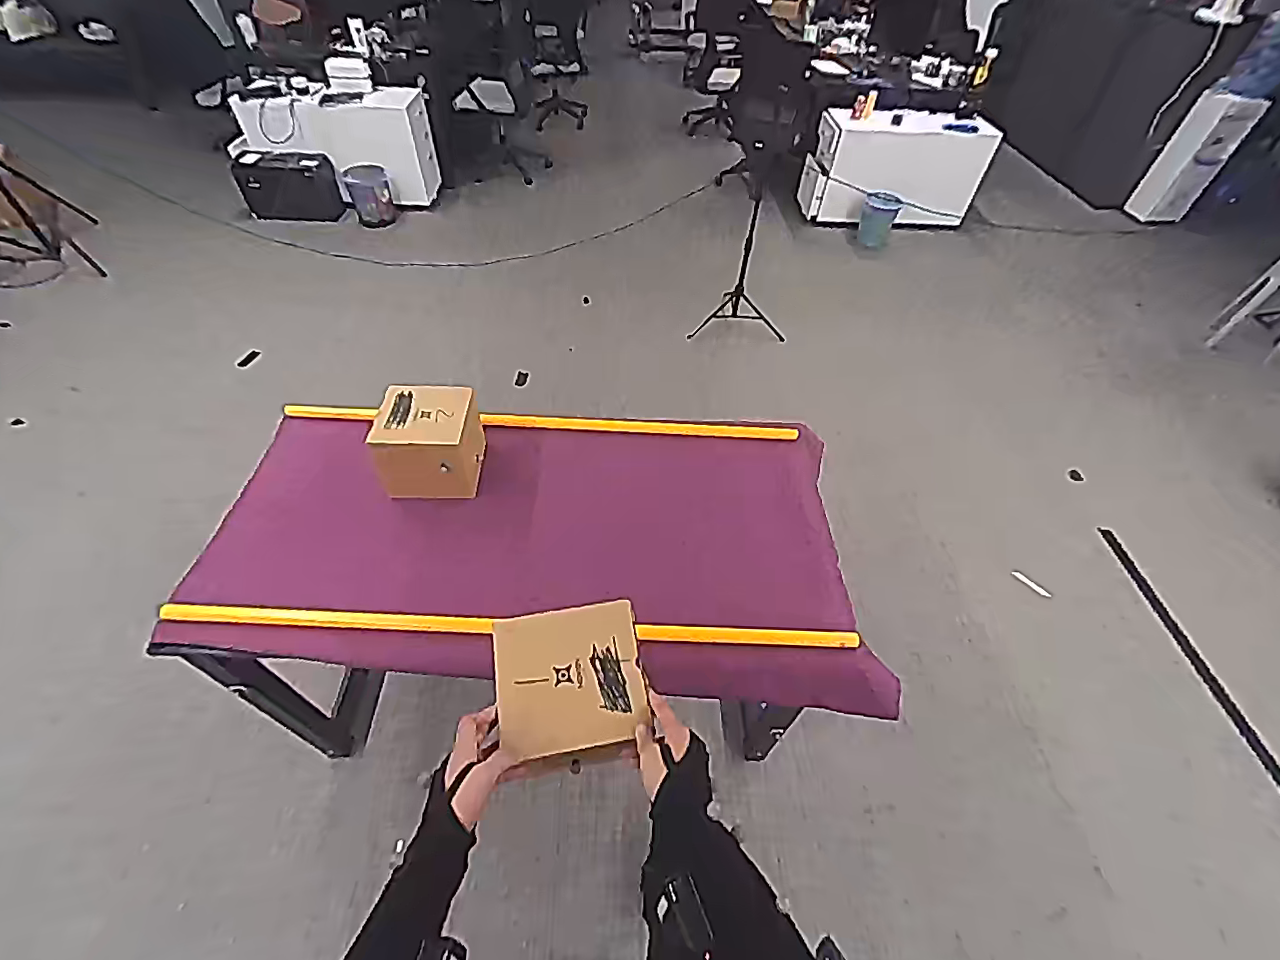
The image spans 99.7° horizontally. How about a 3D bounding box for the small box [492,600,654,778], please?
[{"bbox_3d":[-0.088,0.272,0.699,0.179,0.176,0.168,-7,56,-9],"label":"small box"}]
